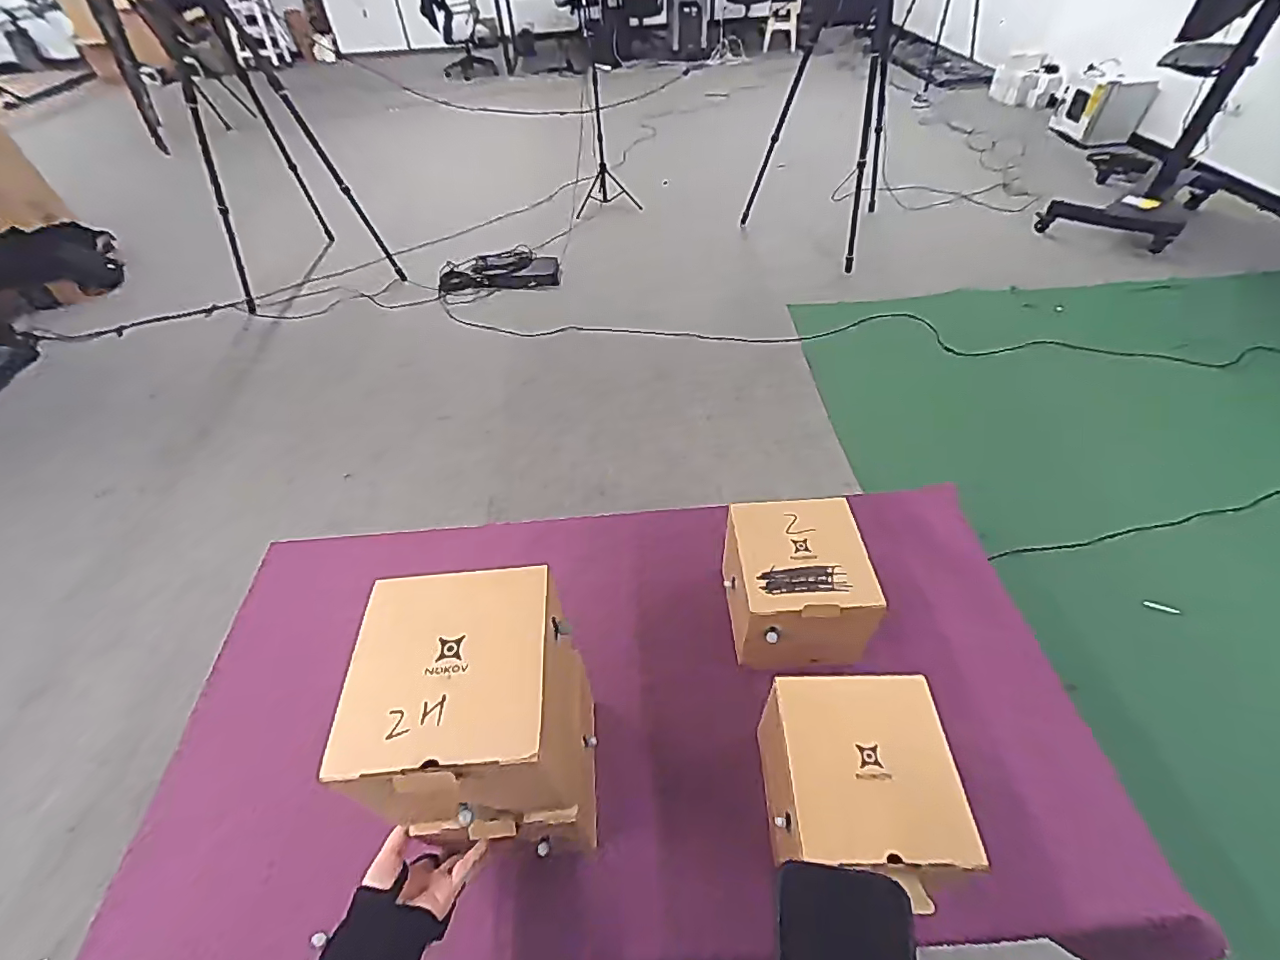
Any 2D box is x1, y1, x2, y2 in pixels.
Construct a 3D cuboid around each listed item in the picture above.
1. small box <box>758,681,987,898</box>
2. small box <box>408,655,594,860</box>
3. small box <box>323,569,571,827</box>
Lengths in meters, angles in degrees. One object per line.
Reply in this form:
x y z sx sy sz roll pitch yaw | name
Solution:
0.230 0.340 0.595 0.168 0.176 0.179 -2 48 2 | small box
-0.143 0.328 0.632 0.168 0.176 0.179 -4 47 -1 | small box
-0.160 0.209 0.519 0.168 0.176 0.179 -6 48 -1 | small box
